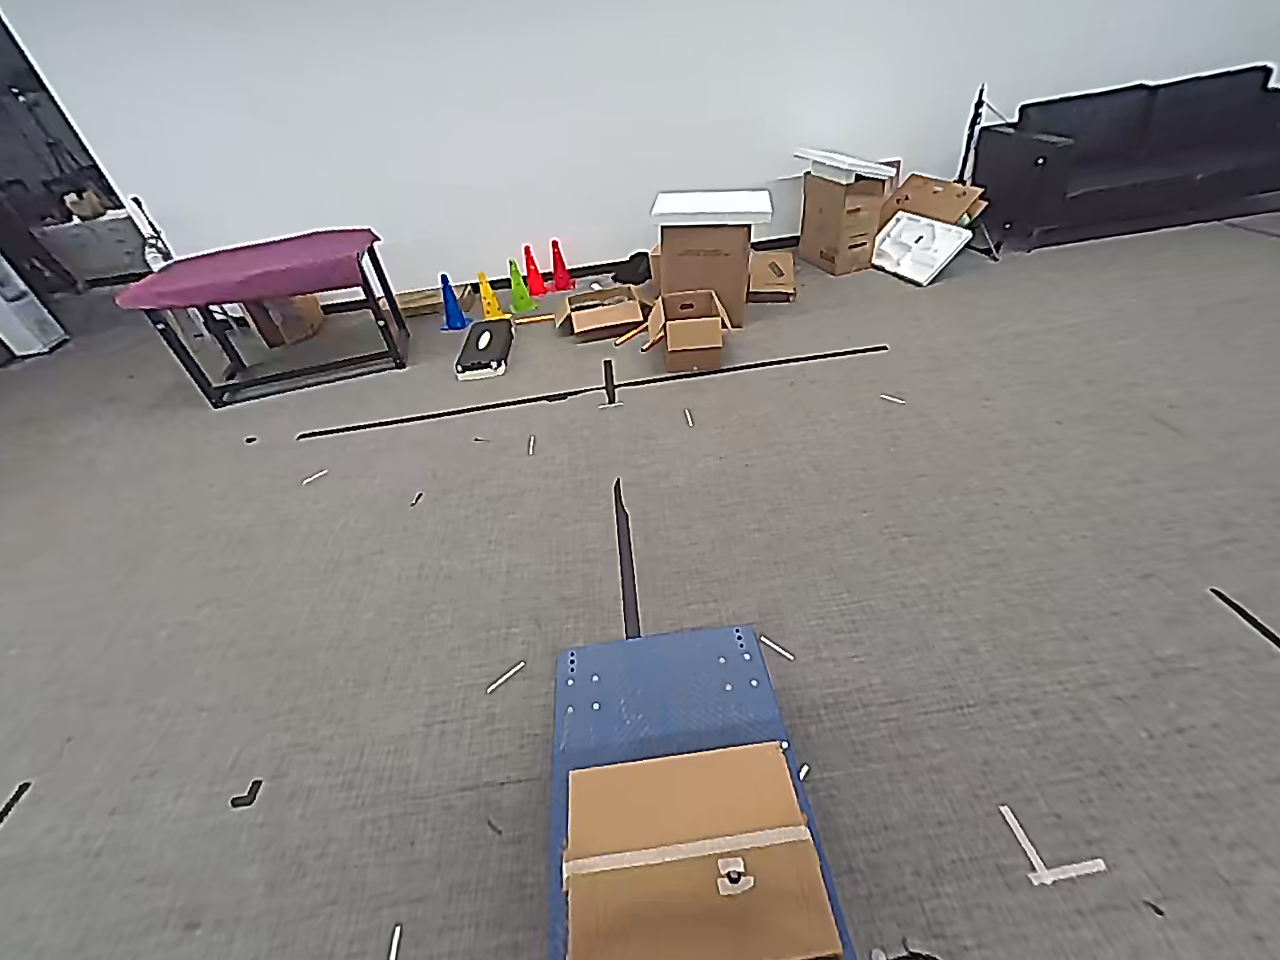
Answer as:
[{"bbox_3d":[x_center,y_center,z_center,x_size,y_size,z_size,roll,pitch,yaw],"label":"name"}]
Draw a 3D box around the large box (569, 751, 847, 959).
[{"bbox_3d":[0.095,0.738,0.966,0.408,0.320,0.320,-8,39,-1],"label":"large box"}]
